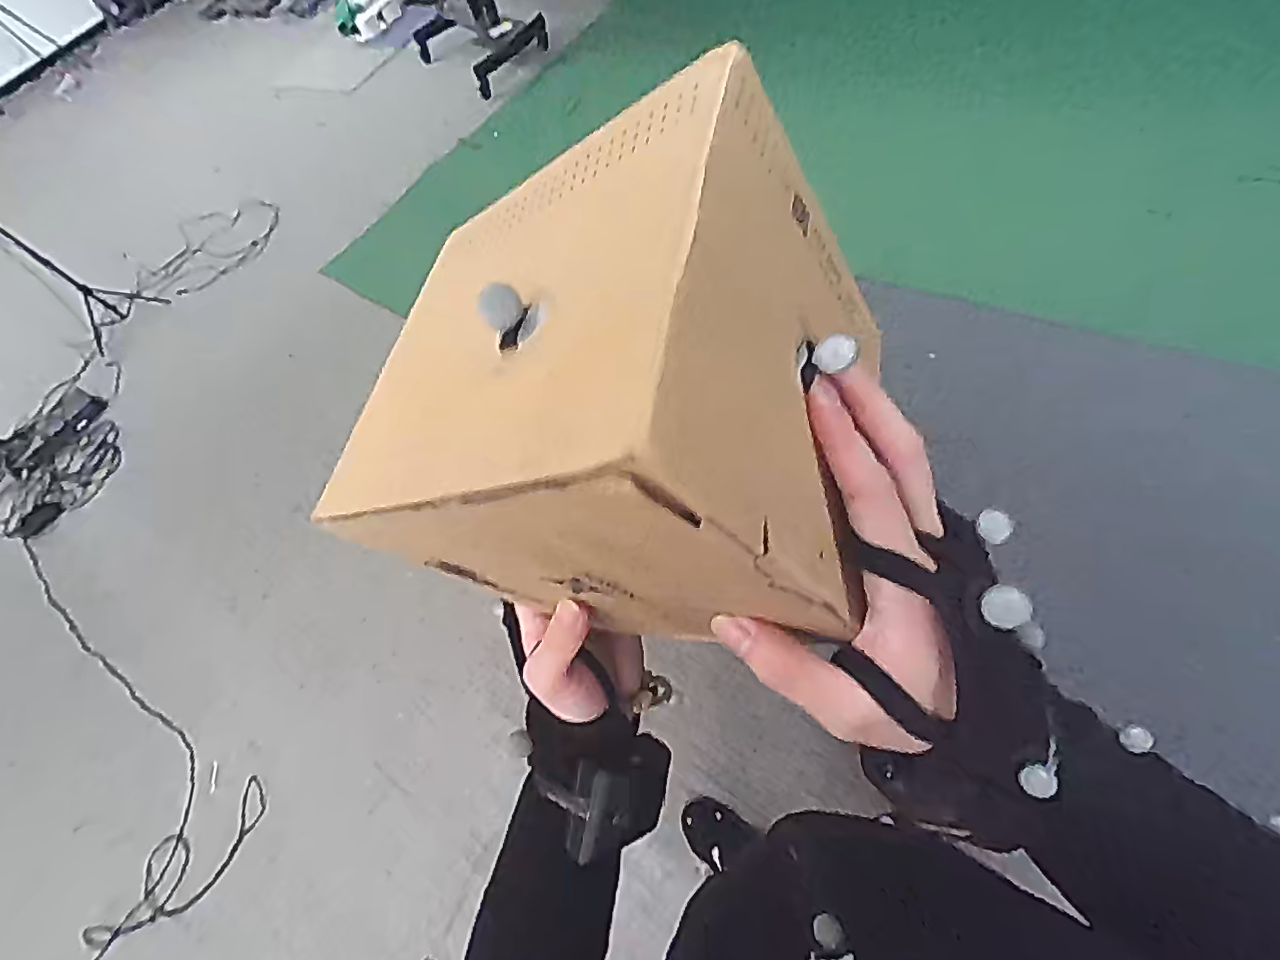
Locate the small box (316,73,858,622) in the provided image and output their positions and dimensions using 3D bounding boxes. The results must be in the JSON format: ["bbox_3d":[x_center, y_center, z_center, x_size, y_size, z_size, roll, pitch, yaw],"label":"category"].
[{"bbox_3d":[-0.008,-0.038,0.262,0.179,0.168,0.176,-9,57,38],"label":"small box"}]
